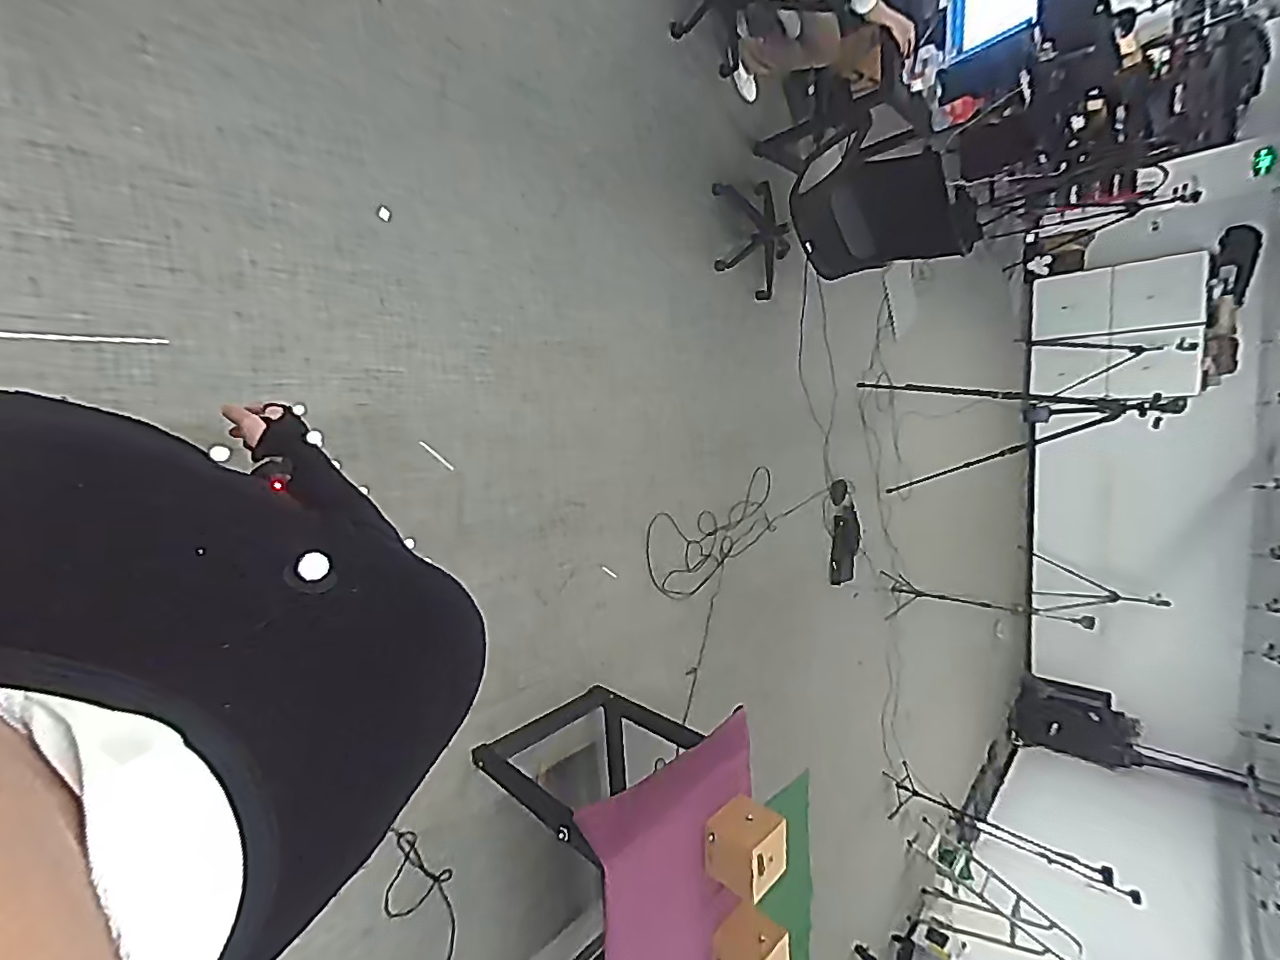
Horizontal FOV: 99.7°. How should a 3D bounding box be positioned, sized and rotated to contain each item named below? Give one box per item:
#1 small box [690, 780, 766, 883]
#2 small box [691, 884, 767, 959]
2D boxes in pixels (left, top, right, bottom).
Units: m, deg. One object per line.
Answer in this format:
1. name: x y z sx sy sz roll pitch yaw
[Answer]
1. small box: 0.265 1.061 1.650 0.179 0.176 0.168 -8 99 -45
2. small box: 0.282 1.434 1.705 0.179 0.176 0.168 -5 97 -45
